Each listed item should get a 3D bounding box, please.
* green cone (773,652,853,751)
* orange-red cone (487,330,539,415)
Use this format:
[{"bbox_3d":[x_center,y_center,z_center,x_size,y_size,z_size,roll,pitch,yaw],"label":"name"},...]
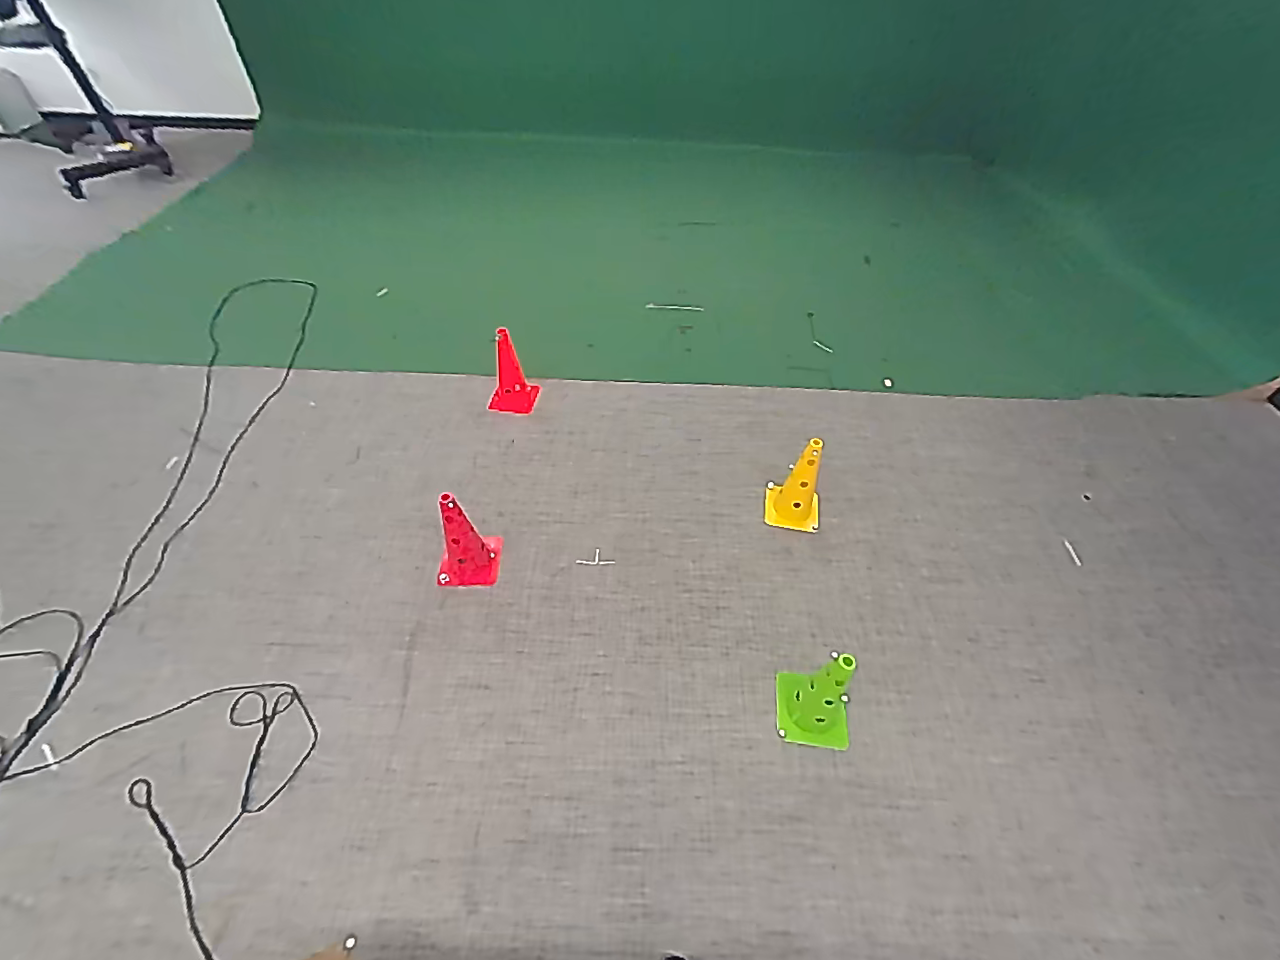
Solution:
[{"bbox_3d":[0.501,0.564,1.458,0.200,0.368,0.202,7,48,3],"label":"green cone"},{"bbox_3d":[-0.571,-0.477,2.315,0.199,0.360,0.198,7,48,6],"label":"orange-red cone"}]
